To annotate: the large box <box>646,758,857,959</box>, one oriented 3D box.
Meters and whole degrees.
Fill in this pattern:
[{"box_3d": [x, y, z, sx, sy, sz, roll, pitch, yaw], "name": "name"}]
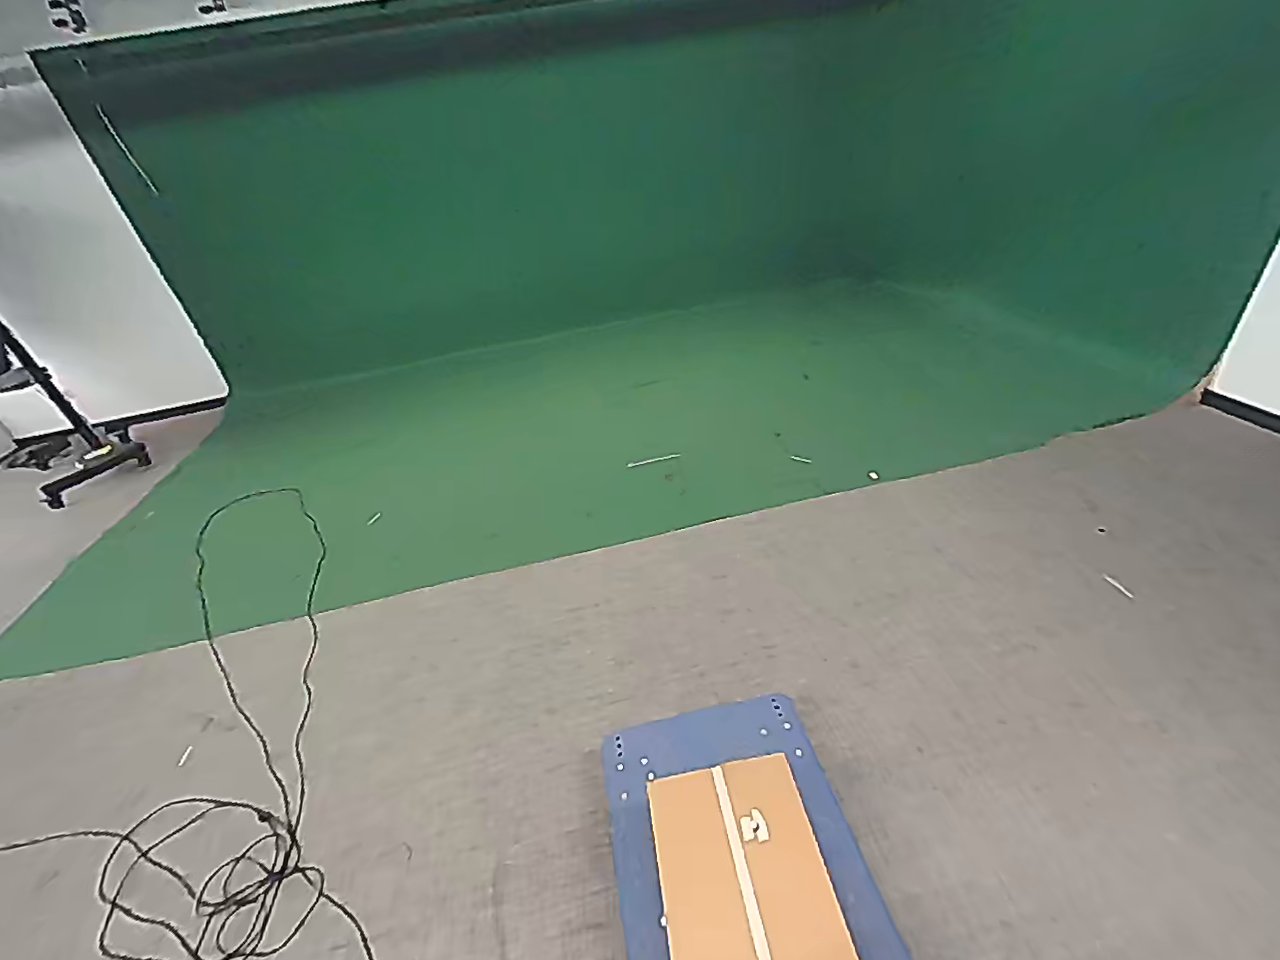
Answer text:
[{"box_3d": [0.212, 0.872, 1.108, 0.320, 0.320, 0.408, -10, 33, -2], "name": "large box"}]
